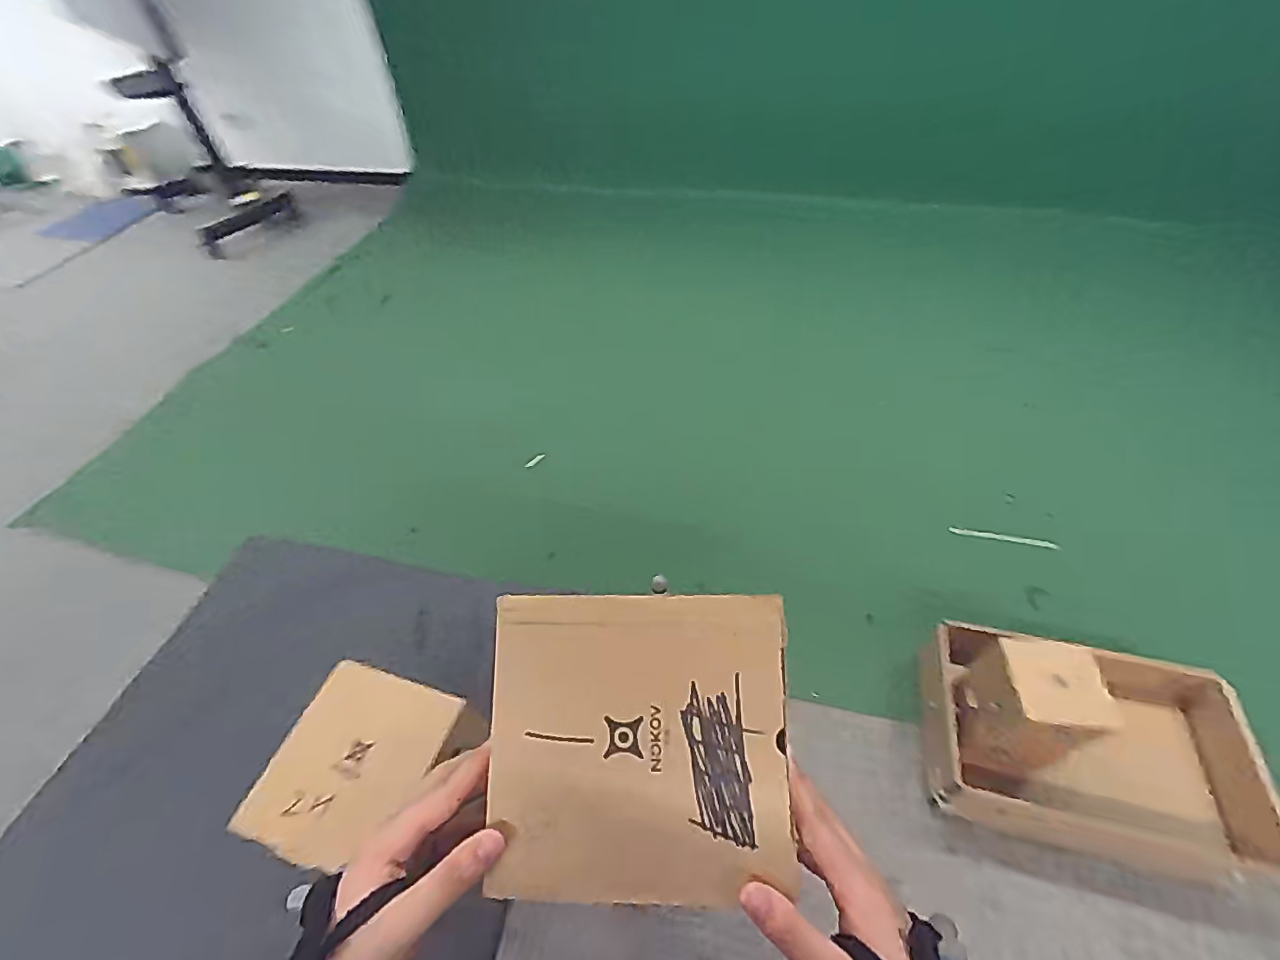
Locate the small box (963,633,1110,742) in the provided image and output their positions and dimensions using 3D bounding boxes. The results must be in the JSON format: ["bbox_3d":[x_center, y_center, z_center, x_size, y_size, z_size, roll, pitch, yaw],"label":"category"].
[{"bbox_3d":[0.815,0.441,1.141,0.179,0.176,0.168,4,52,3],"label":"small box"}]

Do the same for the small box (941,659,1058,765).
[{"bbox_3d":[0.824,0.547,1.266,0.179,0.176,0.168,10,52,12],"label":"small box"}]

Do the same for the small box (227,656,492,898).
[{"bbox_3d":[-0.283,0.329,0.600,0.168,0.176,0.179,11,52,14],"label":"small box"}]

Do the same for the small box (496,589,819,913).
[{"bbox_3d":[0.014,0.164,0.383,0.179,0.176,0.168,1,77,3],"label":"small box"}]
